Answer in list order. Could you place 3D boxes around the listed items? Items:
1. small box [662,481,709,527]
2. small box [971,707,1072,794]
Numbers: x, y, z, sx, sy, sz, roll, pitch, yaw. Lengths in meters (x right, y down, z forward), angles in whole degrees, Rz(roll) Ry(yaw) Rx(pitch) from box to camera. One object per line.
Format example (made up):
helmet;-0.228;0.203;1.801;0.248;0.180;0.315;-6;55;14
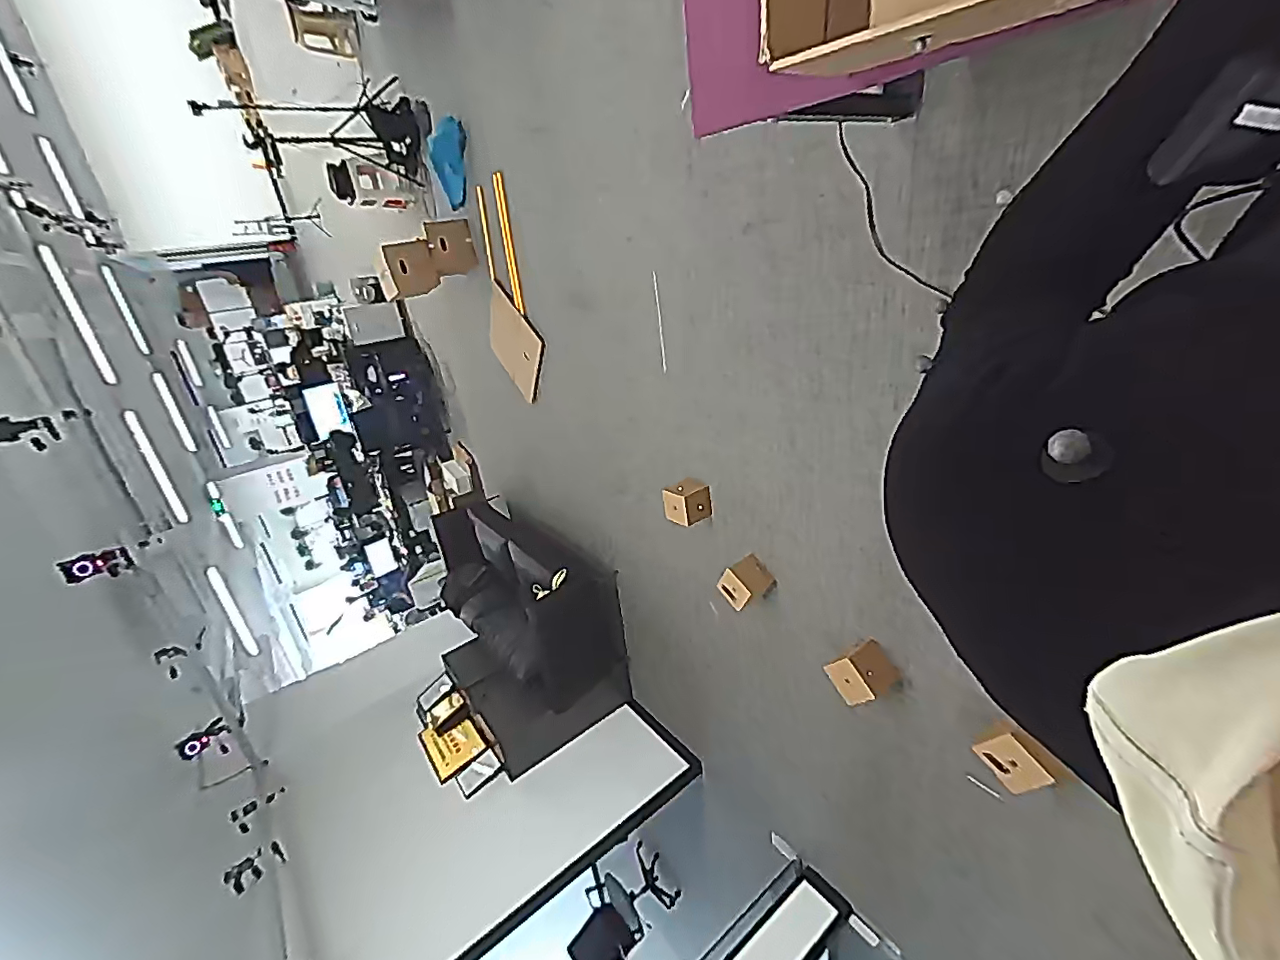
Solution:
small box;0.238;0.118;2.742;0.179;0.176;0.168;19;124;51
small box;1.212;0.856;1.717;0.168;0.176;0.179;51;145;25
